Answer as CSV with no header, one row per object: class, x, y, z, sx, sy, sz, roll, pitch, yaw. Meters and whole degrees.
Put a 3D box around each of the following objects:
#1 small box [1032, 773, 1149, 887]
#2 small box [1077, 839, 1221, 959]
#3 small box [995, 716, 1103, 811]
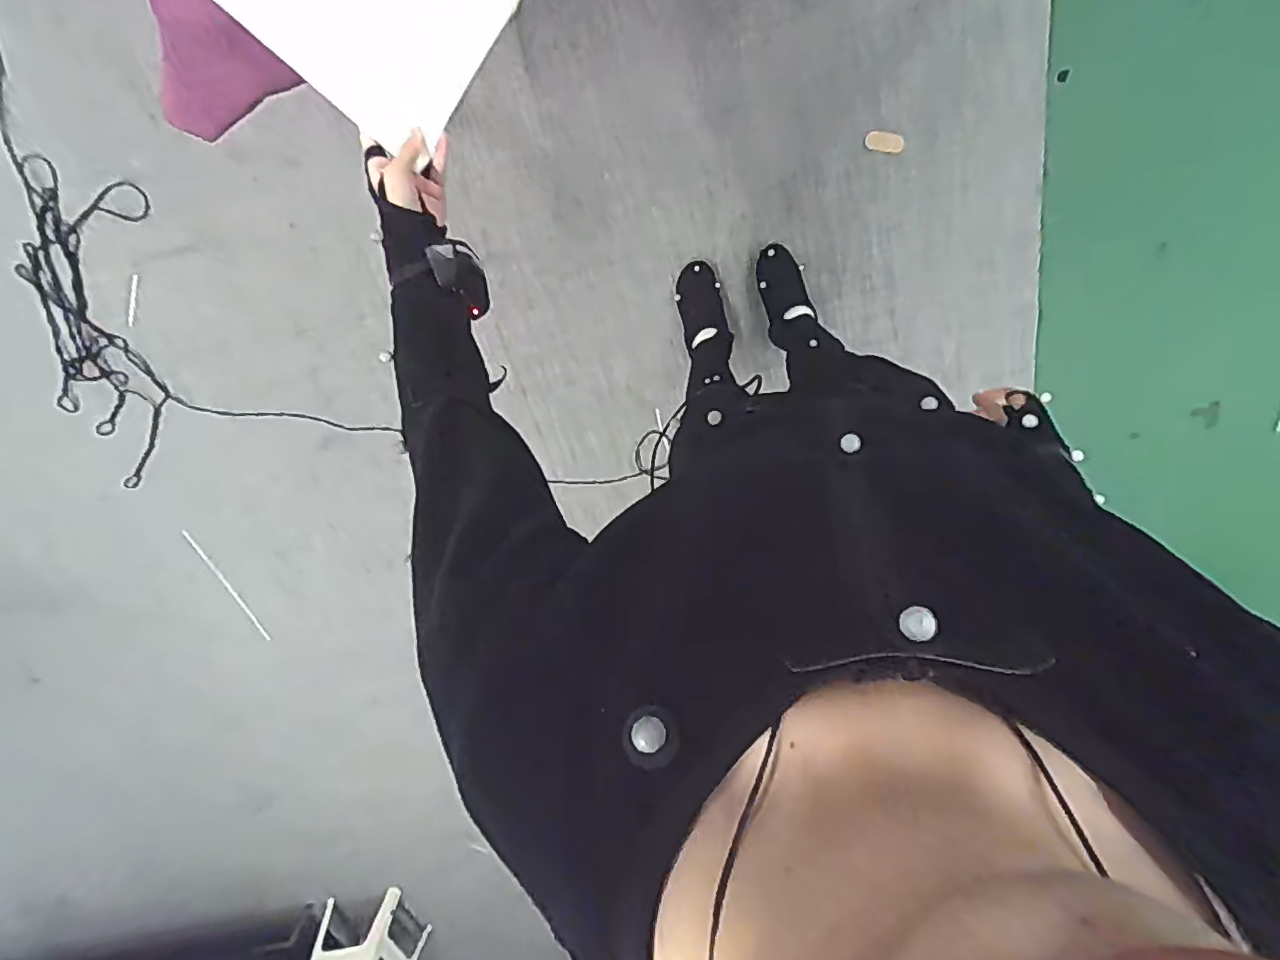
small box,1.121,0.864,1.353,0.168,0.176,0.179,-22,112,12
small box,1.122,0.935,1.204,0.168,0.176,0.179,-23,111,12
small box,1.132,0.787,1.497,0.179,0.176,0.168,-24,111,12
